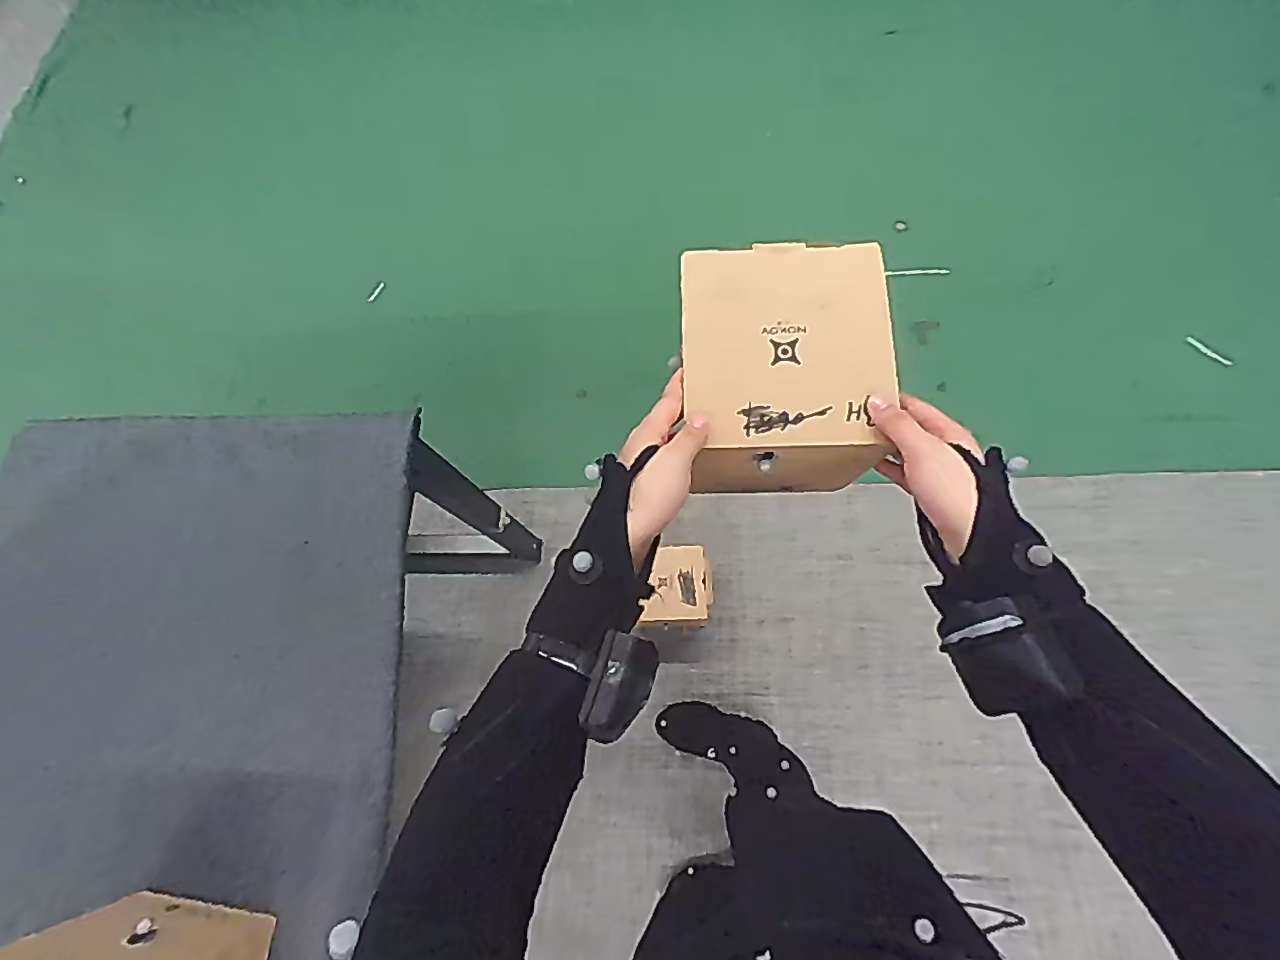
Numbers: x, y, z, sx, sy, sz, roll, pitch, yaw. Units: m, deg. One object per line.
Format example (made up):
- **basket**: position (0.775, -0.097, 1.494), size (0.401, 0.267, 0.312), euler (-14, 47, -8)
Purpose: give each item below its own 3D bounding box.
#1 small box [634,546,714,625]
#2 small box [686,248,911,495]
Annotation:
- **small box**: position (0.081, 0.252, 1.279), size (0.179, 0.176, 0.168), euler (-2, 71, 6)
- **small box**: position (0.128, -0.089, 0.507), size (0.168, 0.176, 0.179), euler (-1, 78, 4)
